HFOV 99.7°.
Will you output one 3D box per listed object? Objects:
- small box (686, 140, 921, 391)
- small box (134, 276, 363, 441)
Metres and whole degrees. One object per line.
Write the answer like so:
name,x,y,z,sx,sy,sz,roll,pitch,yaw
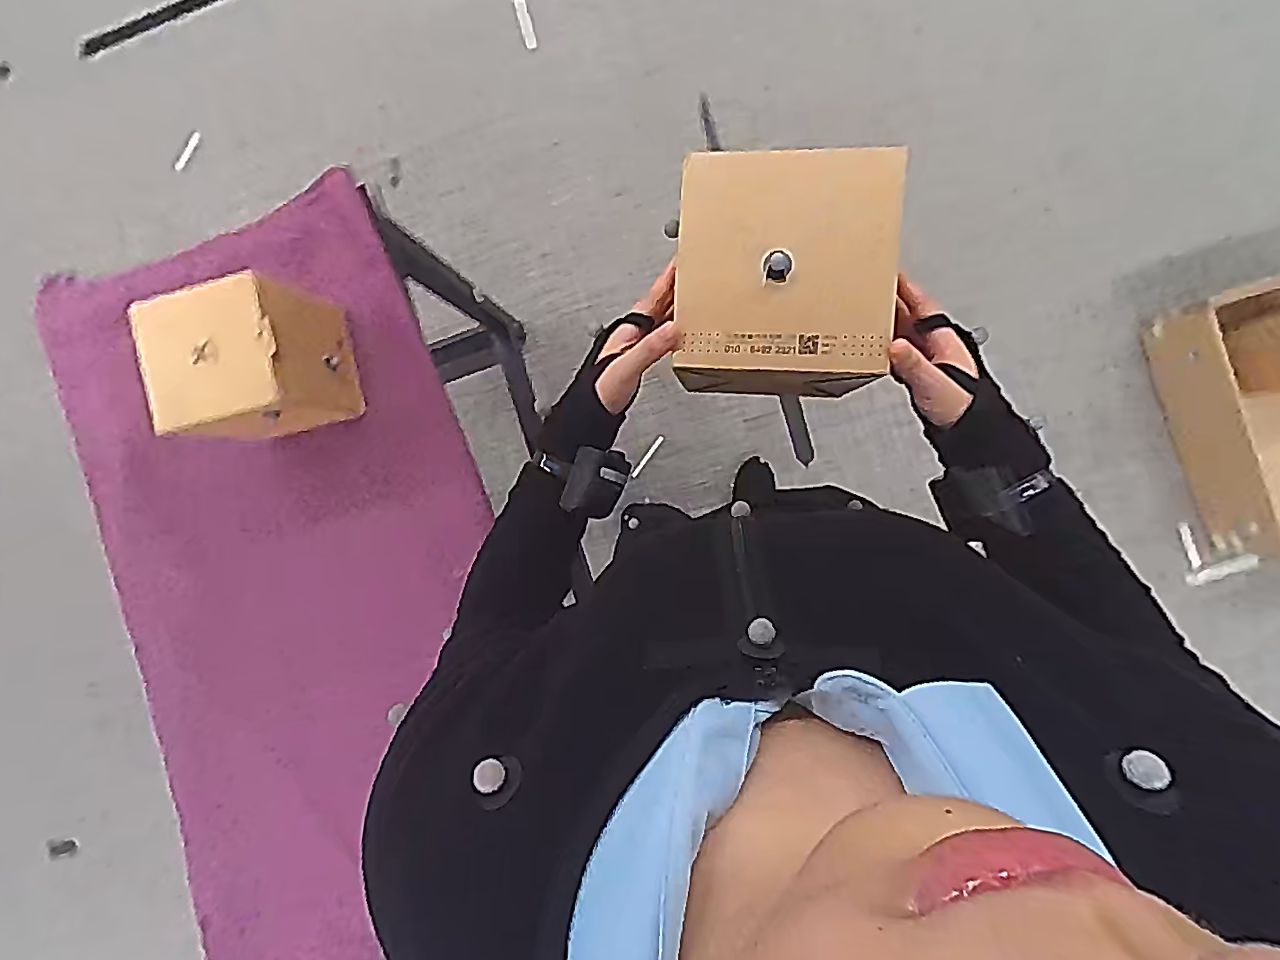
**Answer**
small box,0.134,-0.172,0.488,0.168,0.179,0.176,5,94,9
small box,-0.524,-0.152,0.745,0.179,0.176,0.168,-13,90,7
